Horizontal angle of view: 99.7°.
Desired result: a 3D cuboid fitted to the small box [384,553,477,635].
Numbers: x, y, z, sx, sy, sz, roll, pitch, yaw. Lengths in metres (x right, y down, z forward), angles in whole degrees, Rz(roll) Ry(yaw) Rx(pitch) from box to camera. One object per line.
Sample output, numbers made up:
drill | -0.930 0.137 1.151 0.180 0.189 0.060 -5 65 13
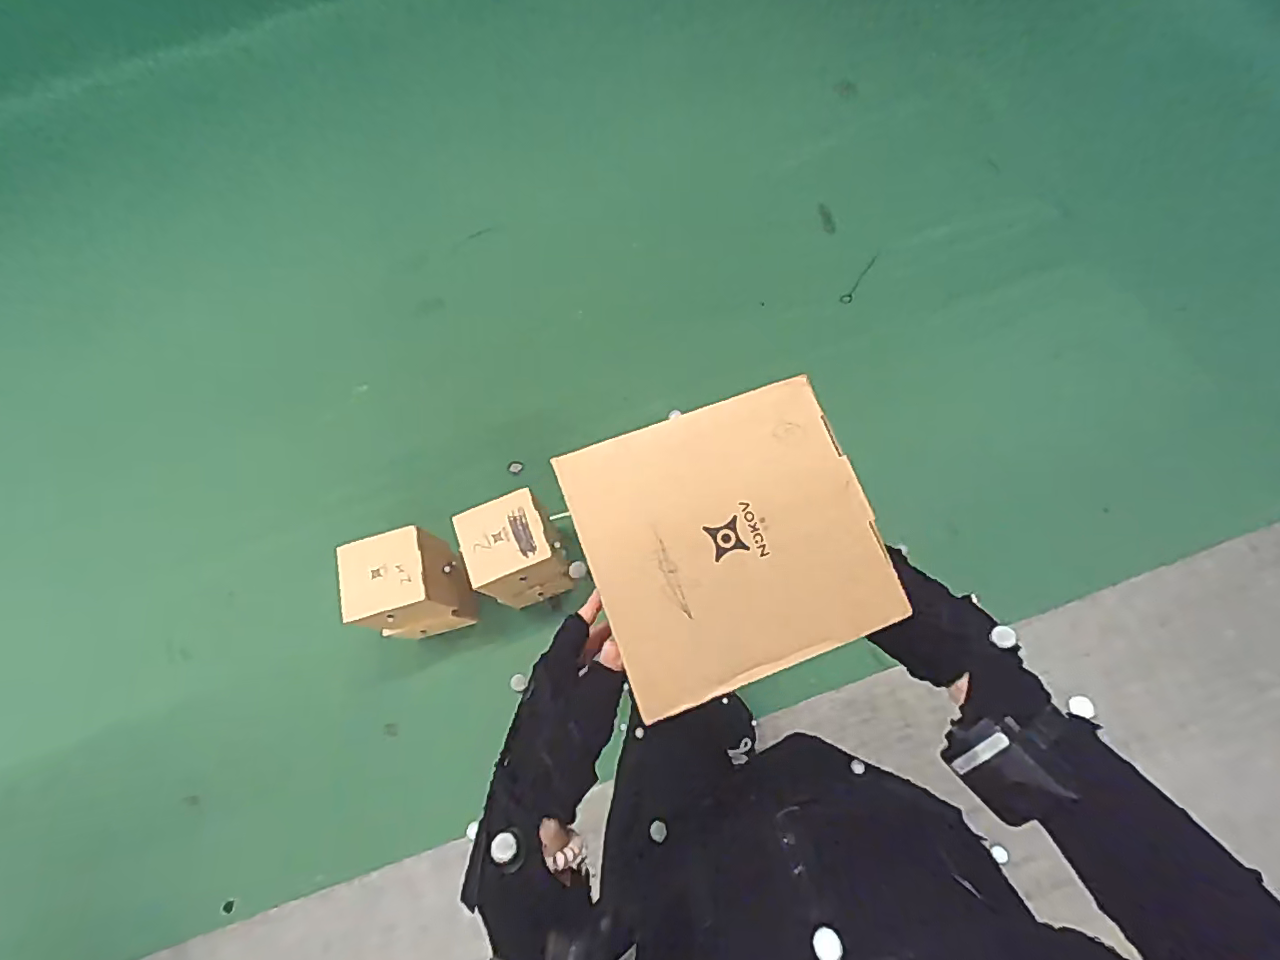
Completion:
small box | -0.520 0.281 1.345 0.168 0.176 0.179 -15 70 -1

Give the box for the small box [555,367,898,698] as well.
small box | 0.047 0.041 0.409 0.179 0.176 0.168 -18 79 -7

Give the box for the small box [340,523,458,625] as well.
small box | -0.526 0.214 1.194 0.179 0.176 0.168 -16 70 -1
